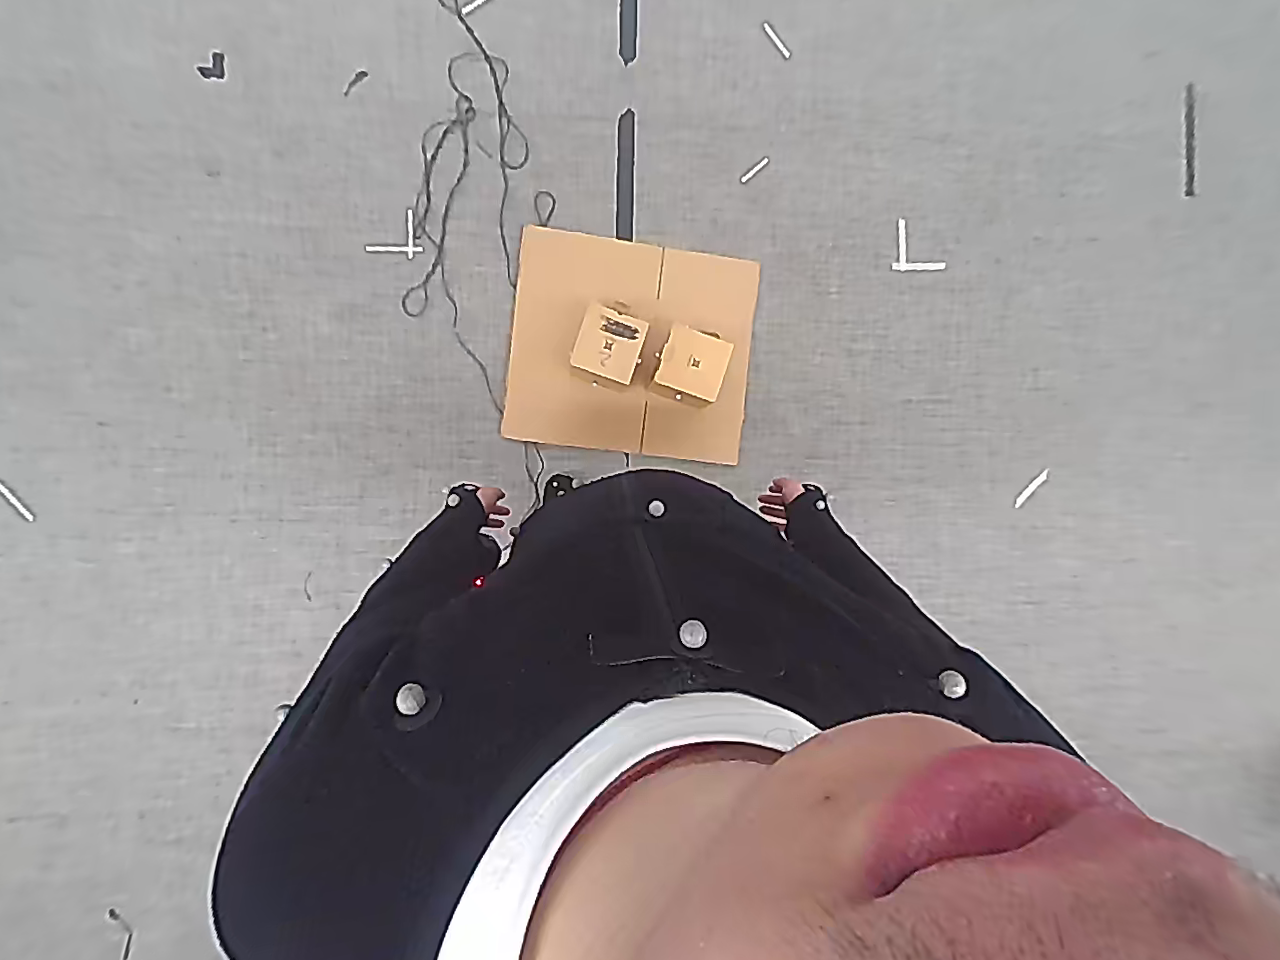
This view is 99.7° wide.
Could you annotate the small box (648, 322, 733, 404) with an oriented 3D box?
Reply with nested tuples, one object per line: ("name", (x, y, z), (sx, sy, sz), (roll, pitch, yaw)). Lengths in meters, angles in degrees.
("small box", (0.135, -0.320, 1.521), (0.179, 0.176, 0.168), (19, 89, -5))
